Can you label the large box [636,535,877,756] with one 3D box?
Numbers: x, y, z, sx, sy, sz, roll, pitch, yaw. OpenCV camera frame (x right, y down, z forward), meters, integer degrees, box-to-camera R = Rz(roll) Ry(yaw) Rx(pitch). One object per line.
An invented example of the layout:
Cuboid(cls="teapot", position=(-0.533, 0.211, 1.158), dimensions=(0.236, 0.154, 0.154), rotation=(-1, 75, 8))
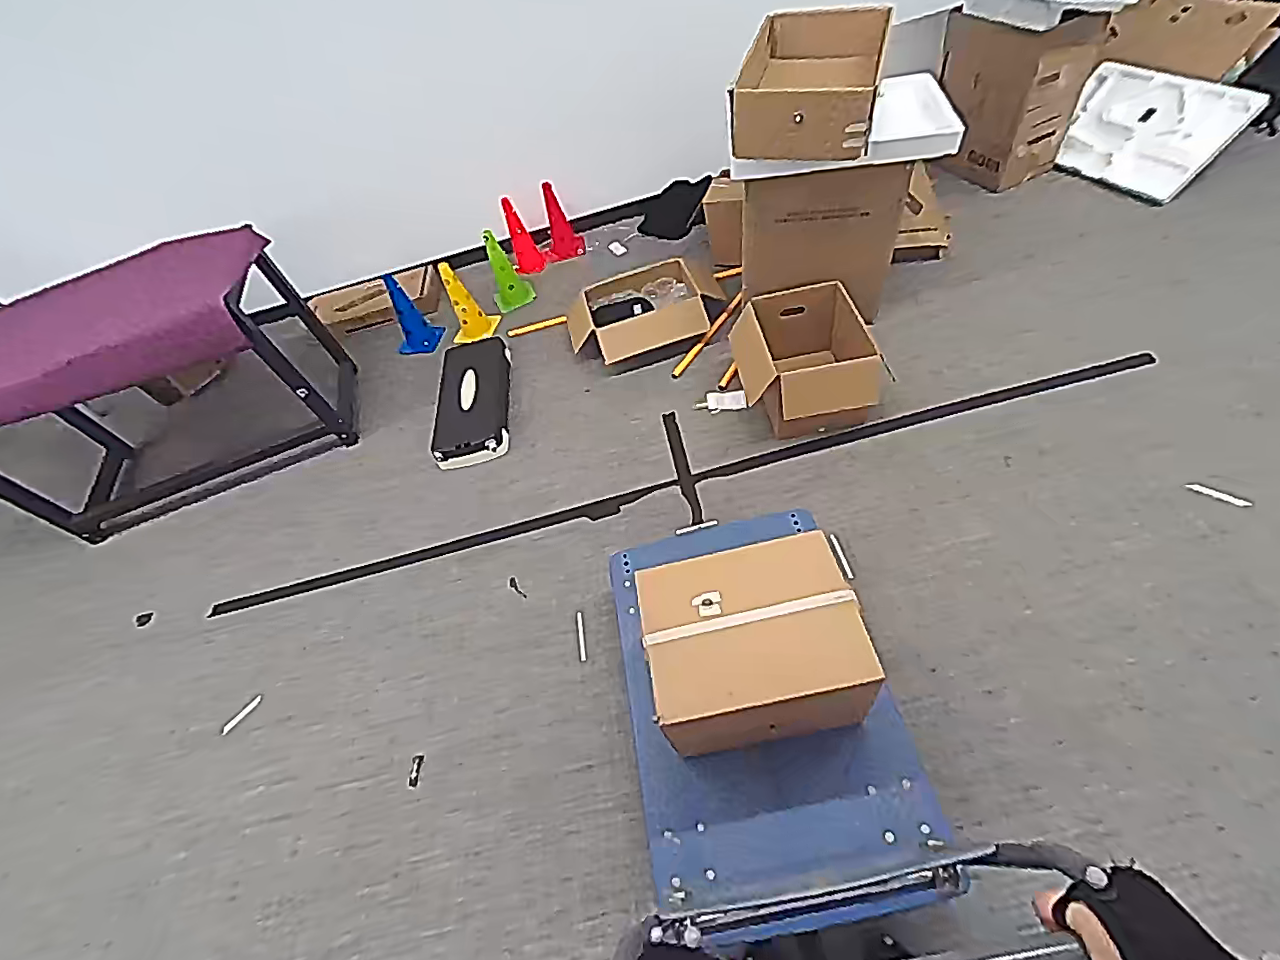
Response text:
Cuboid(cls="large box", position=(0.237, 0.368, 1.173), dimensions=(0.408, 0.320, 0.320), rotation=(-14, 51, 4))
